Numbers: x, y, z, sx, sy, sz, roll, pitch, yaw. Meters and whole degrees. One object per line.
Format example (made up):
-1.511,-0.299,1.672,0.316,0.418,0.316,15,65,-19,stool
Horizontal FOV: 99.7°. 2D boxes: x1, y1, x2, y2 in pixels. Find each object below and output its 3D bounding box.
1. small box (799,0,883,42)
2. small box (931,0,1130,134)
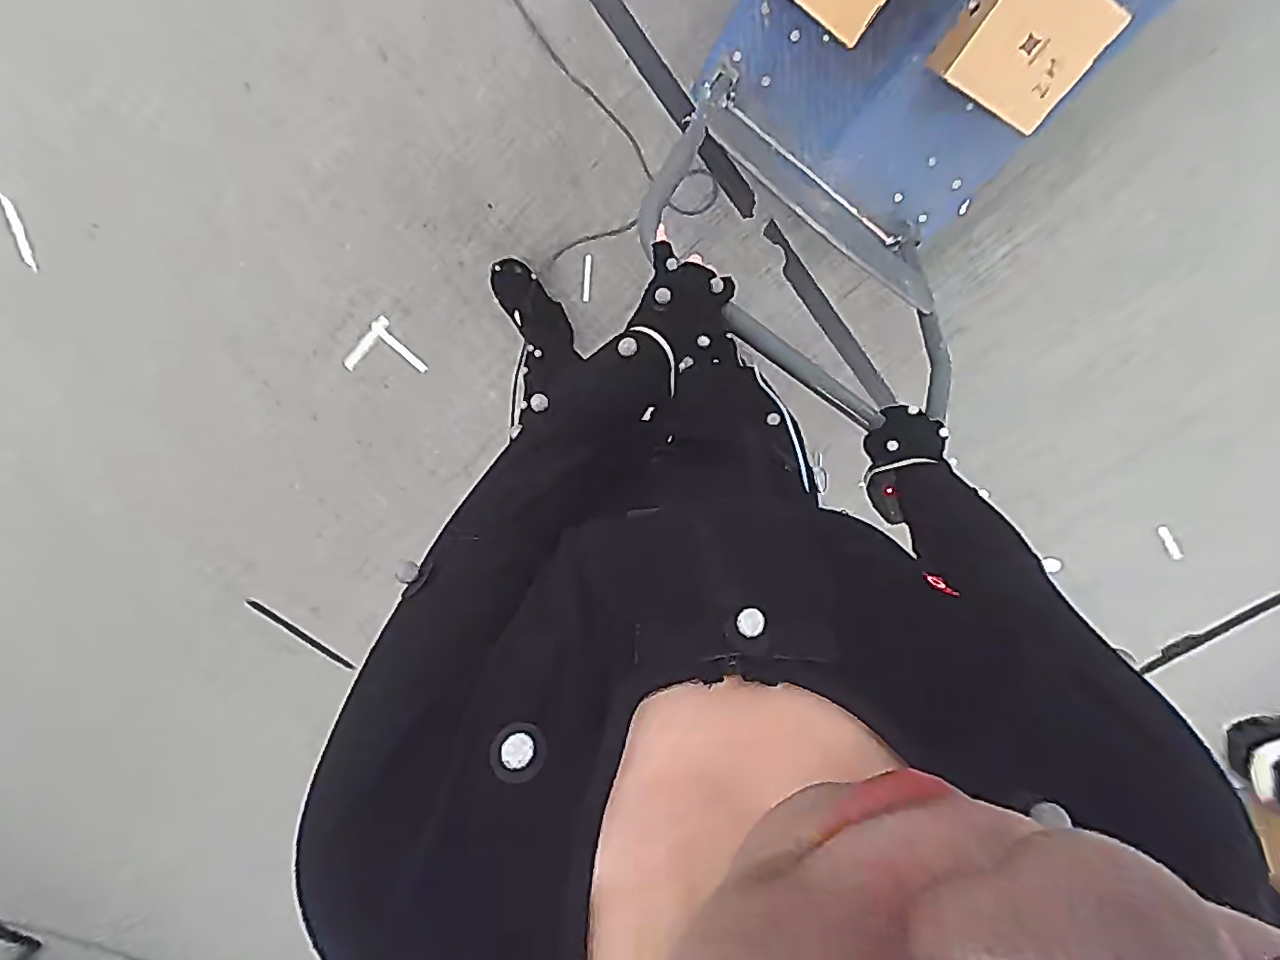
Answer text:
0.313,-0.816,0.825,0.179,0.176,0.168,30,133,-13,small box
0.598,-0.692,0.857,0.179,0.176,0.168,27,134,-9,small box
